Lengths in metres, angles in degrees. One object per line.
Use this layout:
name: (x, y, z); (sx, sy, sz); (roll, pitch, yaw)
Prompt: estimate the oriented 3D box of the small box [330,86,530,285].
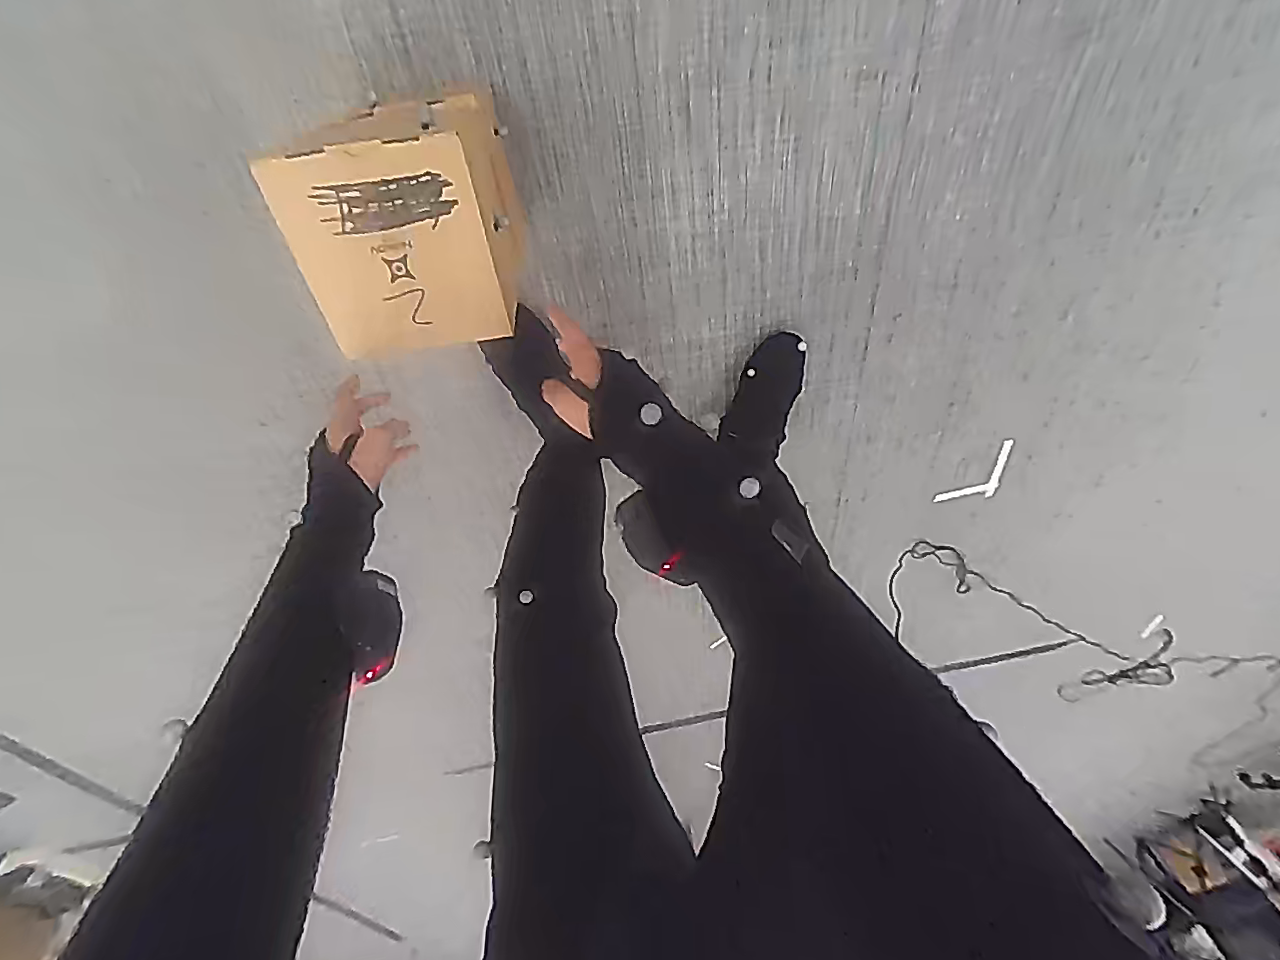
small box: (-0.237, -0.365, 0.661); (0.168, 0.176, 0.179); (-11, 130, -1)
